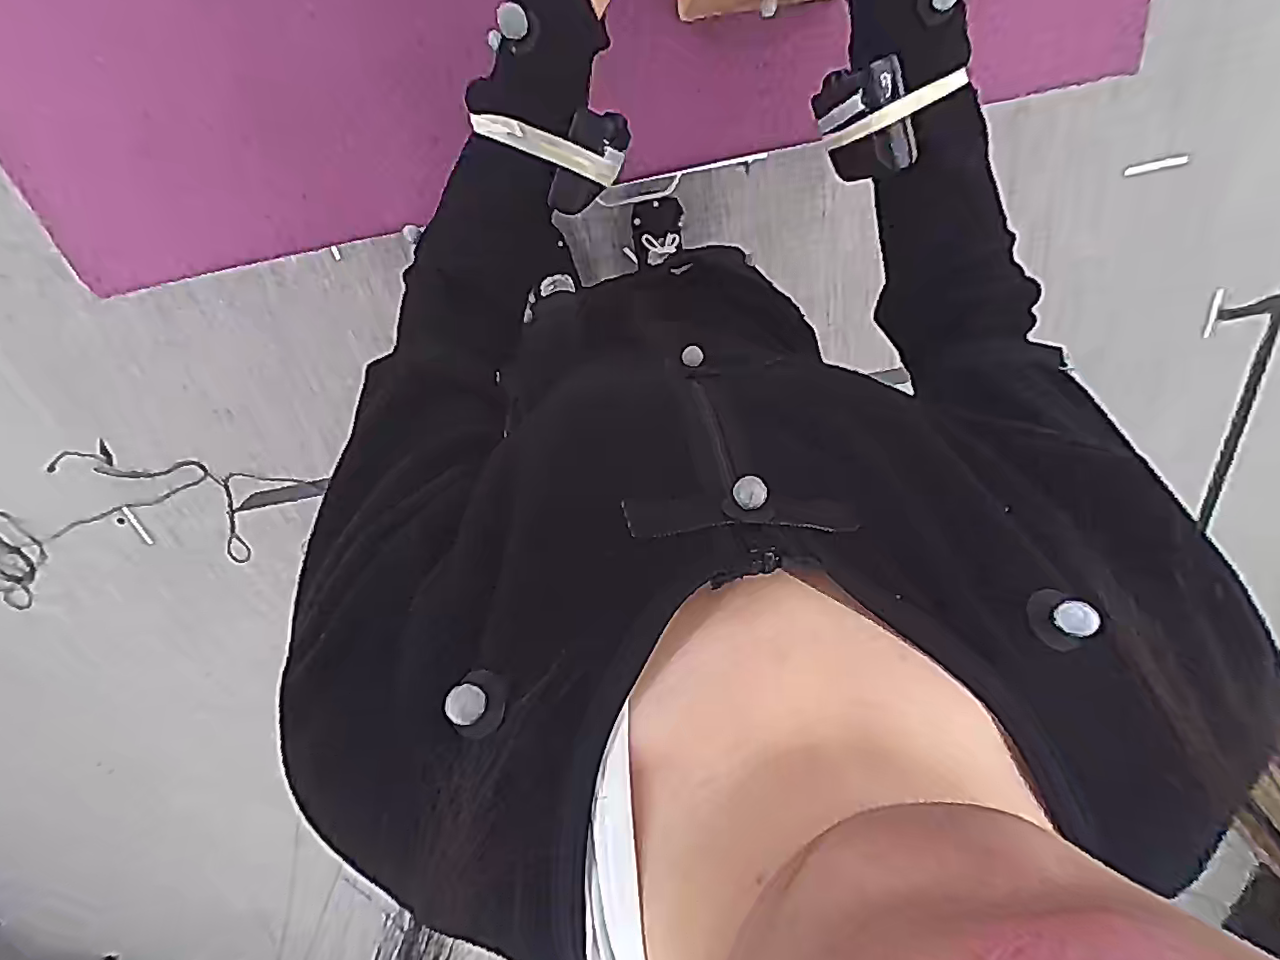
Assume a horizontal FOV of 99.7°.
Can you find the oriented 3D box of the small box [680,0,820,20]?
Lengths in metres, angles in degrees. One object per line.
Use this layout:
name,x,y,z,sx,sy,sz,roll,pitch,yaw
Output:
small box,0.112,-0.517,0.438,0.168,0.176,0.179,-9,118,0
